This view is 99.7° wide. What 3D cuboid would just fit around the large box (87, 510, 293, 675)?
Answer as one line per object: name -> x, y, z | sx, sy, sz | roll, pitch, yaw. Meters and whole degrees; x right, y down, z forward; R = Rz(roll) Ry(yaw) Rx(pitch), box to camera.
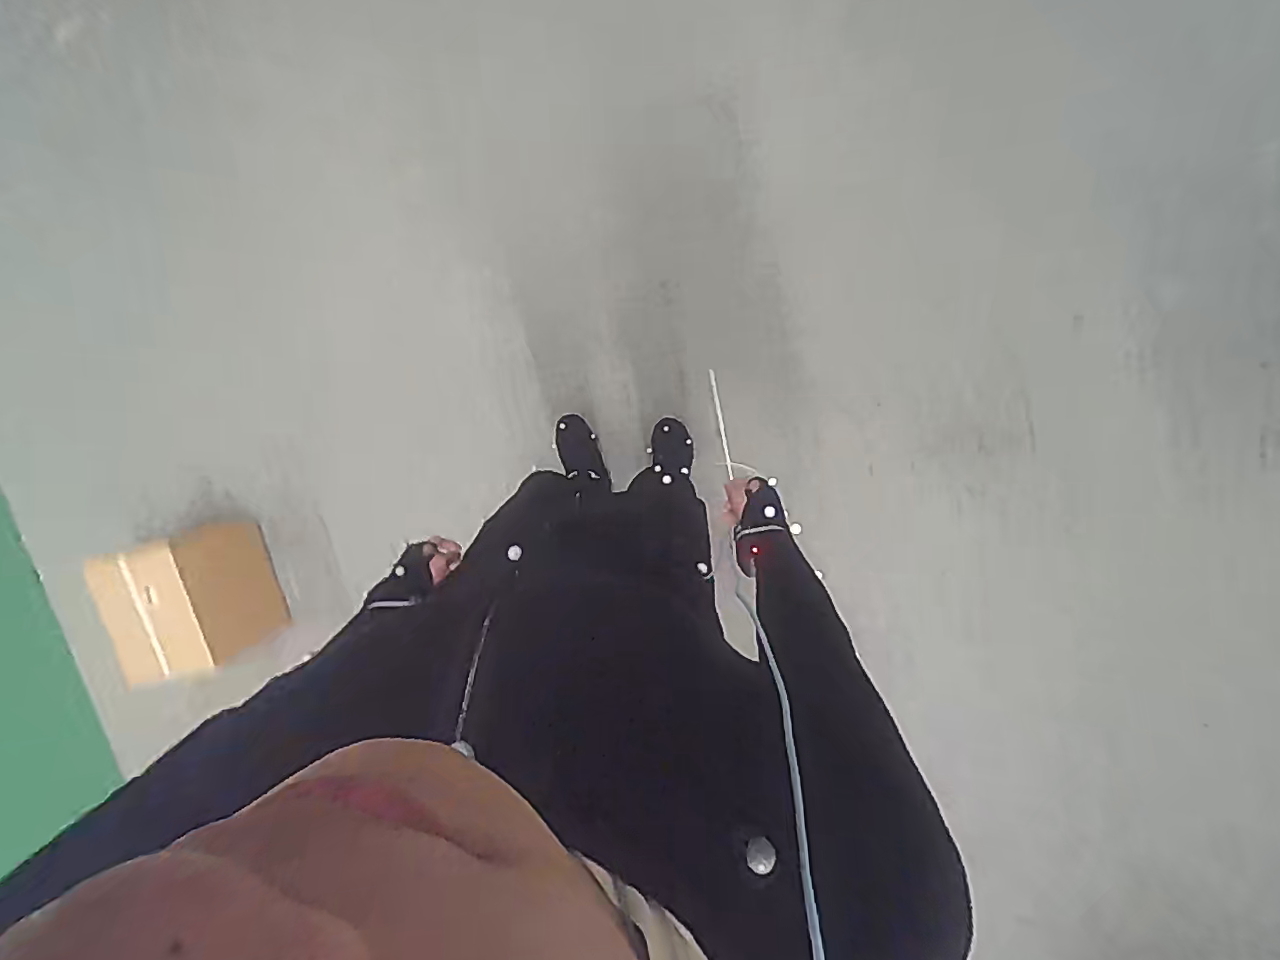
large box -> -1.409, 0.345, 1.729 | 0.320, 0.320, 0.408 | -12, 98, 9
